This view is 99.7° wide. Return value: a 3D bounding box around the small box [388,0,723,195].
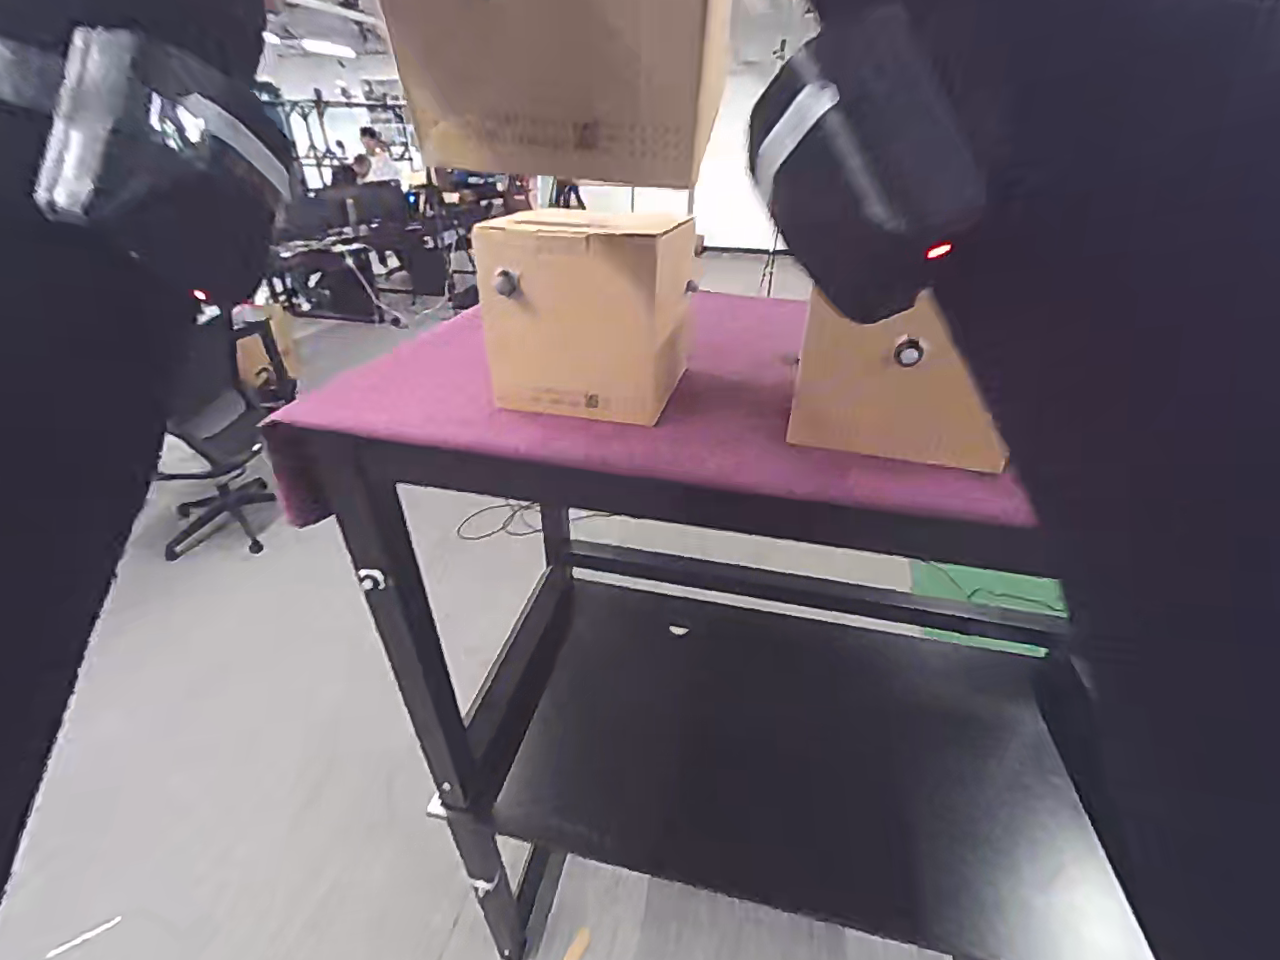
[{"bbox_3d":[-0.037,-0.293,0.327,0.168,0.176,0.179,8,50,7],"label":"small box"}]
